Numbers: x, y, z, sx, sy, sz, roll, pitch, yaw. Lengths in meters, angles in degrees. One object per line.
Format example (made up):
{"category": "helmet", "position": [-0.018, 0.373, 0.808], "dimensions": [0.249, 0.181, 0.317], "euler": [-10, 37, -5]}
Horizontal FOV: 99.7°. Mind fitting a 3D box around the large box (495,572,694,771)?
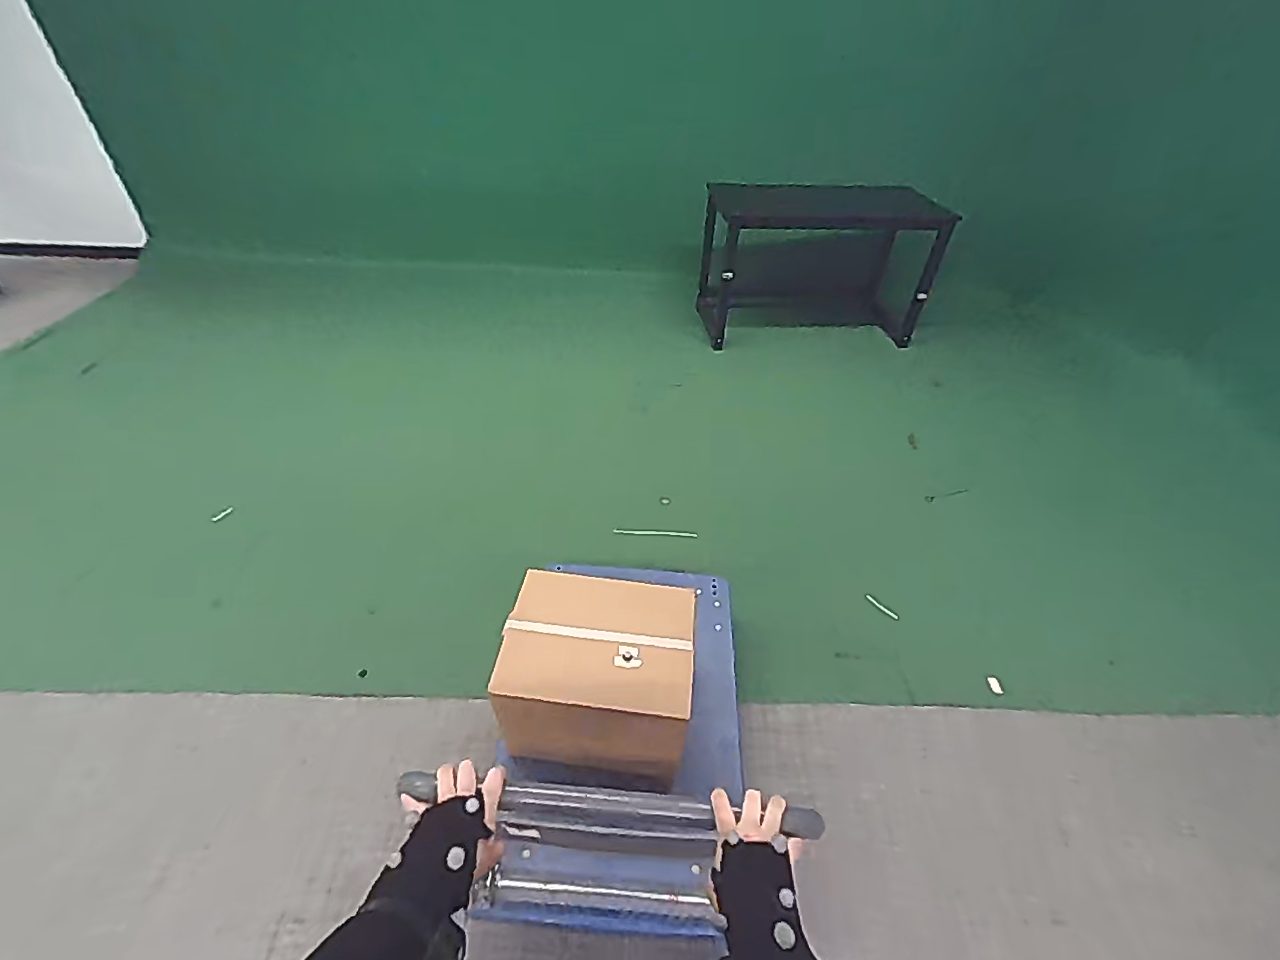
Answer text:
{"category": "large box", "position": [-0.094, 0.455, 1.288], "dimensions": [0.408, 0.320, 0.320], "euler": [7, 42, 2]}
